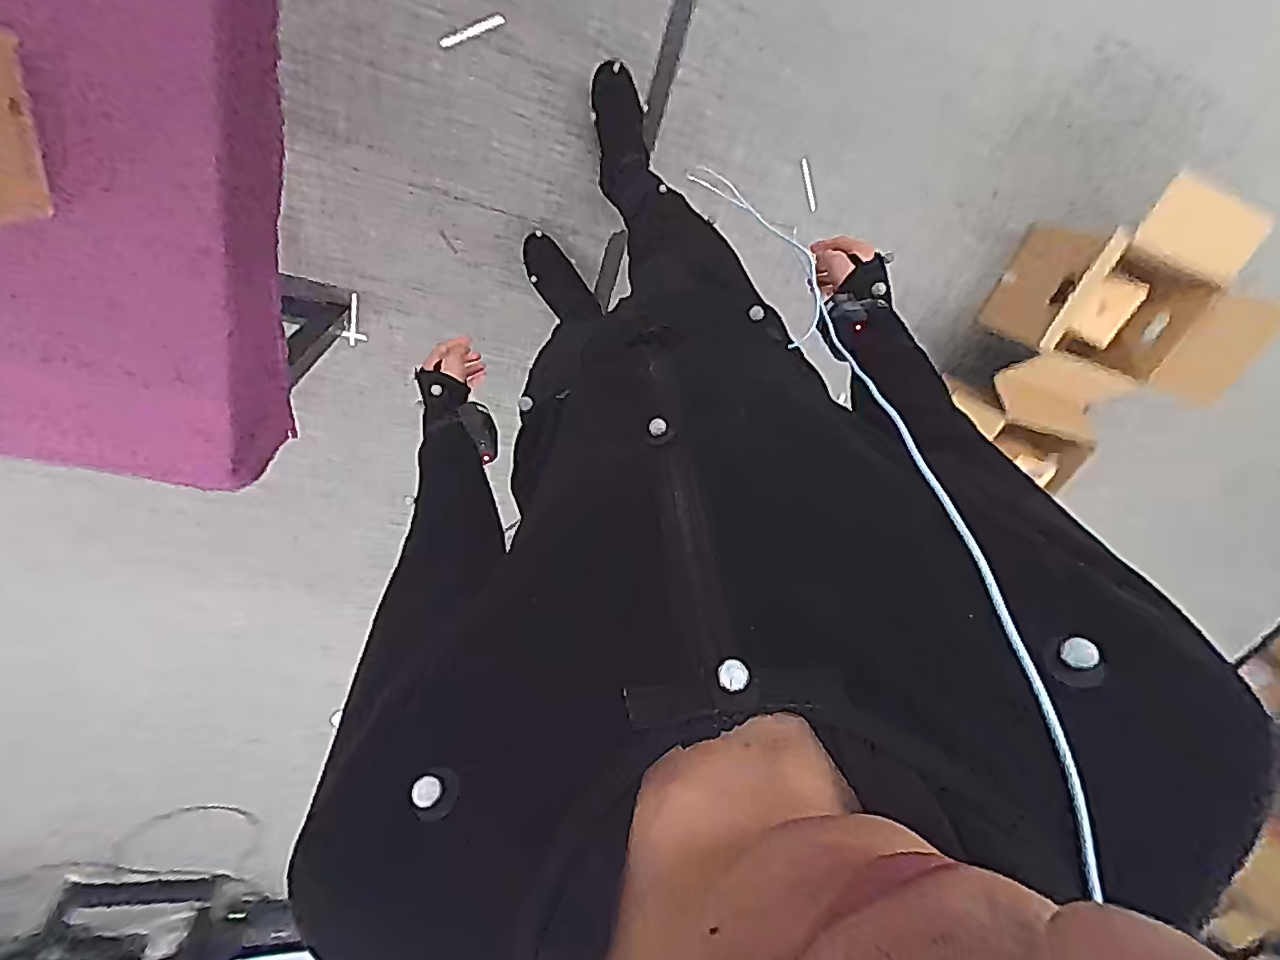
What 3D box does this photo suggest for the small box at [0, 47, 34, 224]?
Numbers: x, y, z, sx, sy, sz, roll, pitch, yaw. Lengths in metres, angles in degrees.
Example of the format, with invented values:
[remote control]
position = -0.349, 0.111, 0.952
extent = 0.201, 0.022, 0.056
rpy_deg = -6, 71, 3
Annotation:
[small box]
position = -0.692, -0.323, 0.464
extent = 0.179, 0.176, 0.168
rpy_deg = 8, 119, -17
